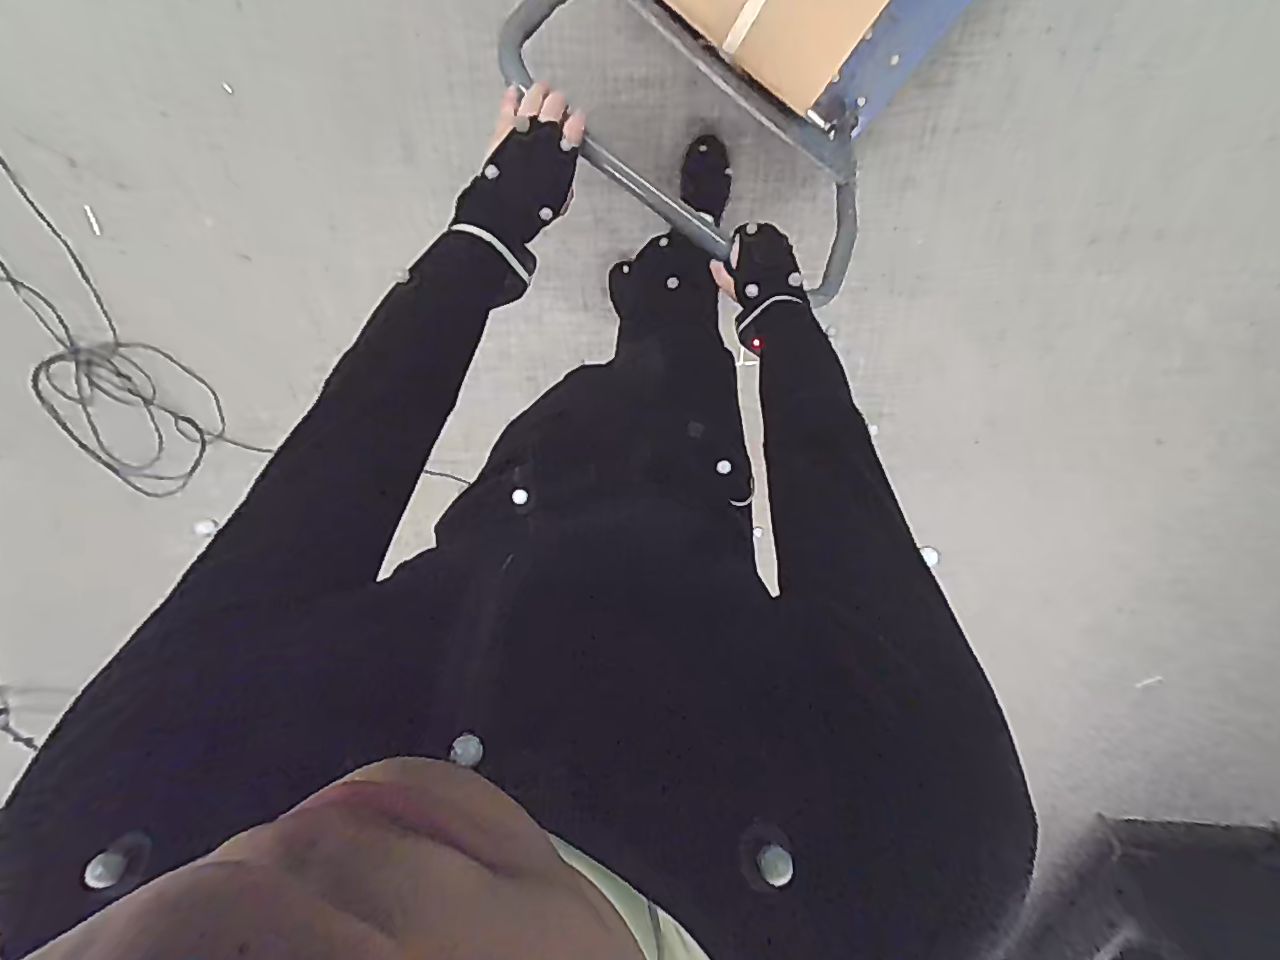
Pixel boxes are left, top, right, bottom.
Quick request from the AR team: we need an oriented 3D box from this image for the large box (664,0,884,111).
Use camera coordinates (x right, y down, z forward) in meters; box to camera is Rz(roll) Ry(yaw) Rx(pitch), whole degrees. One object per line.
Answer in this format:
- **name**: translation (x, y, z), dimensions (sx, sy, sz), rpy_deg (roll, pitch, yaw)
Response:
- **large box**: translation (0.262, -0.872, 0.808), dimensions (0.320, 0.320, 0.408), rpy_deg (30, 134, -14)
